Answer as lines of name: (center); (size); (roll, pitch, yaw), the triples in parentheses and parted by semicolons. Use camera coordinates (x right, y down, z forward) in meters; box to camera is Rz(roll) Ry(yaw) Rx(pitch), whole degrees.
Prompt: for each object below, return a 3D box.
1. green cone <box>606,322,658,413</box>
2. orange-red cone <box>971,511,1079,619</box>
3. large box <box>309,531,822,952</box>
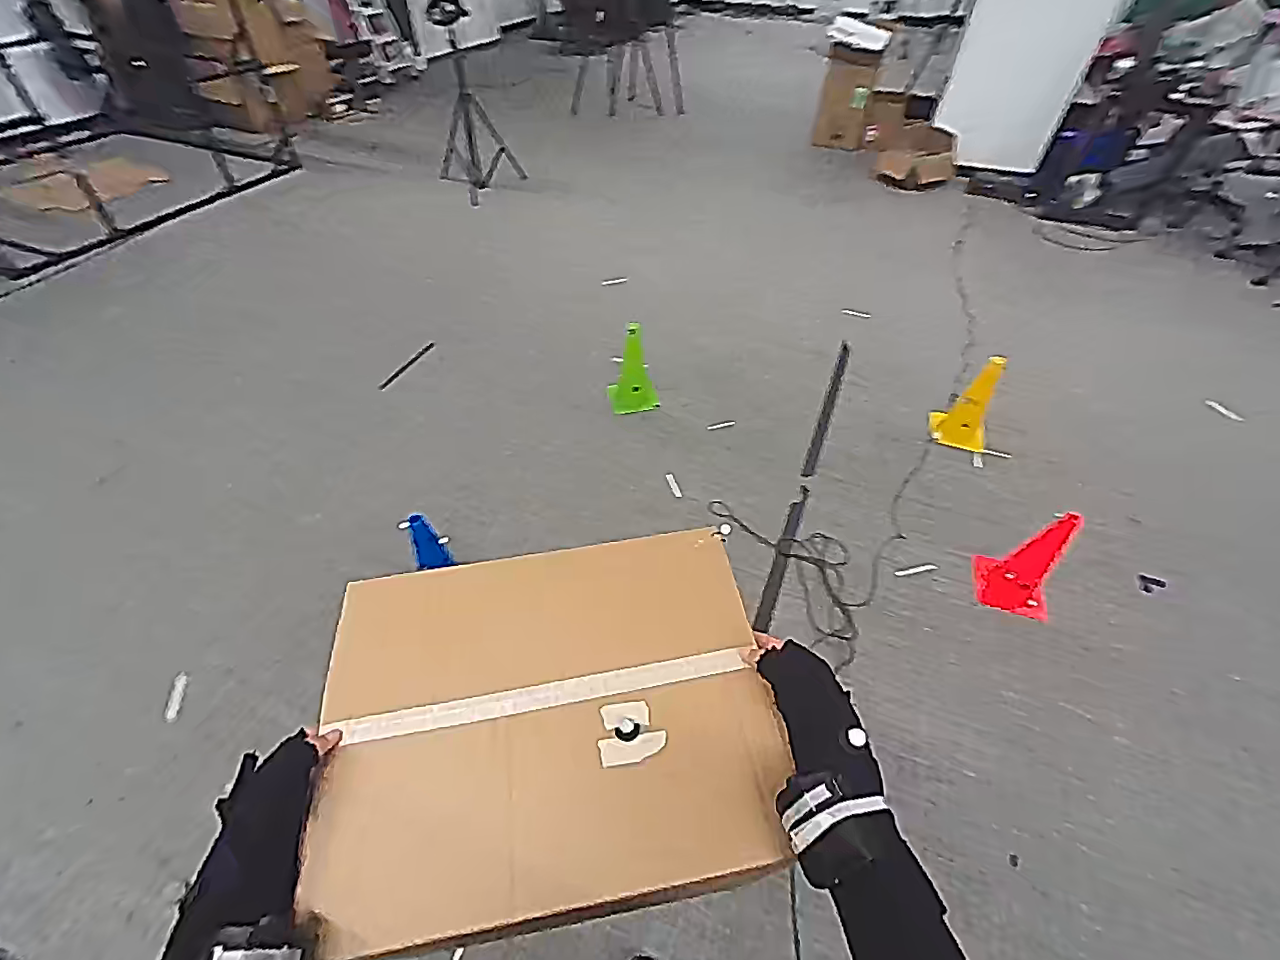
green cone: (-0.038, -0.485, 2.234); (0.202, 0.368, 0.200); (-11, 48, -10)
orange-red cone: (1.178, 0.220, 1.609); (0.198, 0.360, 0.199); (16, 47, 12)
large box: (-0.073, 0.295, 0.618); (0.408, 0.320, 0.320); (-7, 51, -6)
